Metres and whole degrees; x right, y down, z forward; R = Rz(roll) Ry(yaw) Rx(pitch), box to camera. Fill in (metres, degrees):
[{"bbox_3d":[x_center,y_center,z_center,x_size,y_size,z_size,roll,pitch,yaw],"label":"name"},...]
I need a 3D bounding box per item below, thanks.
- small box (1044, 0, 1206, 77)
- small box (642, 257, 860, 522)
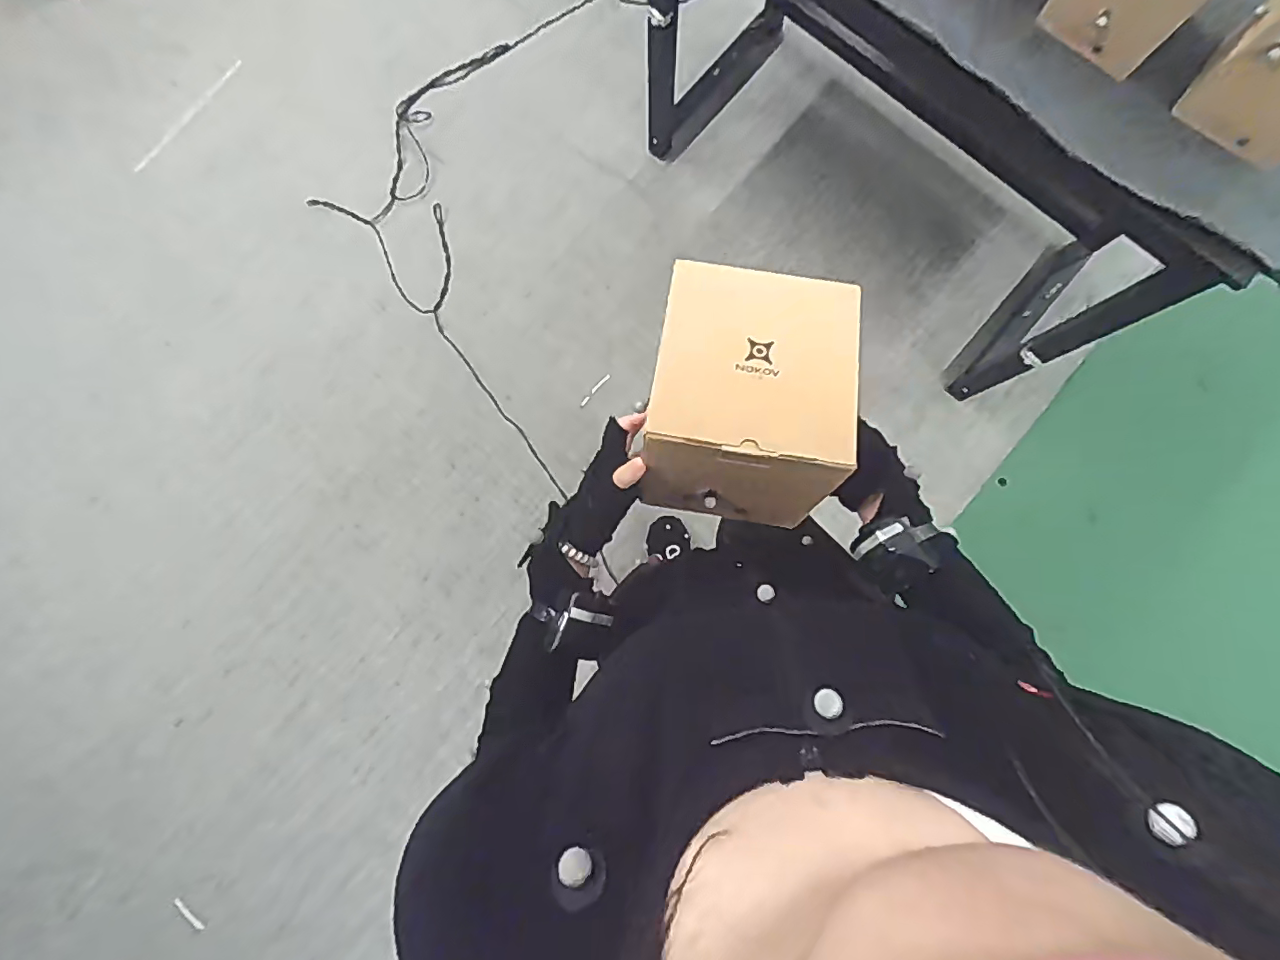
[{"bbox_3d":[0.731,-0.736,0.762,0.168,0.176,0.179,40,85,6],"label":"small box"},{"bbox_3d":[0.094,-0.075,0.515,0.168,0.176,0.179,8,71,2],"label":"small box"}]
